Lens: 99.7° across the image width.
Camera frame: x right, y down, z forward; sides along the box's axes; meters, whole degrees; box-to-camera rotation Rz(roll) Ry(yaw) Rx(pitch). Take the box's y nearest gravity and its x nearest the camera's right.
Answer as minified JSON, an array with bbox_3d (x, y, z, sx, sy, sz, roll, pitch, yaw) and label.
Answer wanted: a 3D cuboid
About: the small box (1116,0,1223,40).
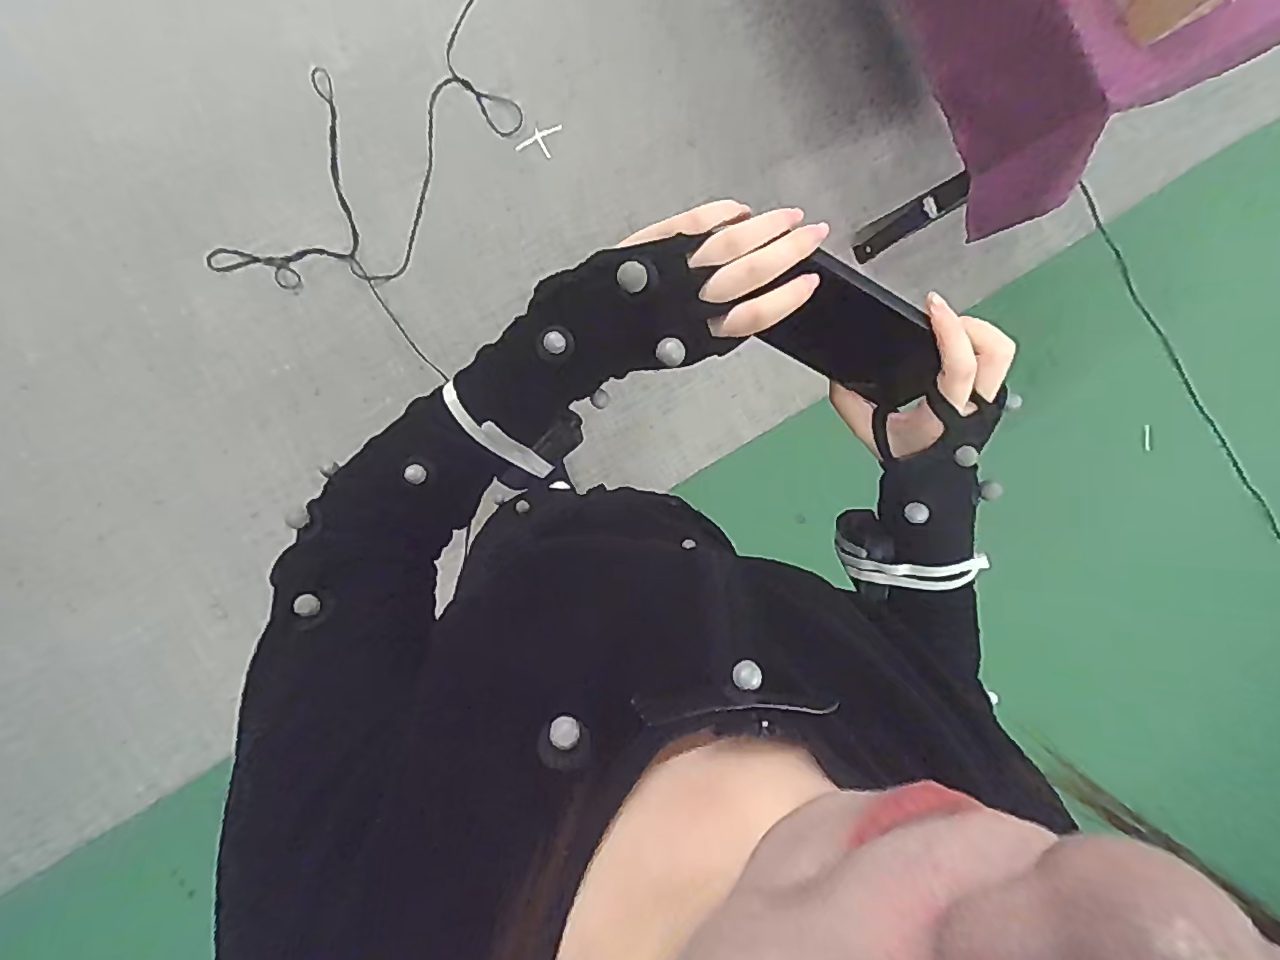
[{"bbox_3d":[0.850,-0.813,0.807,0.168,0.176,0.179,-31,96,-8],"label":"small box"}]
